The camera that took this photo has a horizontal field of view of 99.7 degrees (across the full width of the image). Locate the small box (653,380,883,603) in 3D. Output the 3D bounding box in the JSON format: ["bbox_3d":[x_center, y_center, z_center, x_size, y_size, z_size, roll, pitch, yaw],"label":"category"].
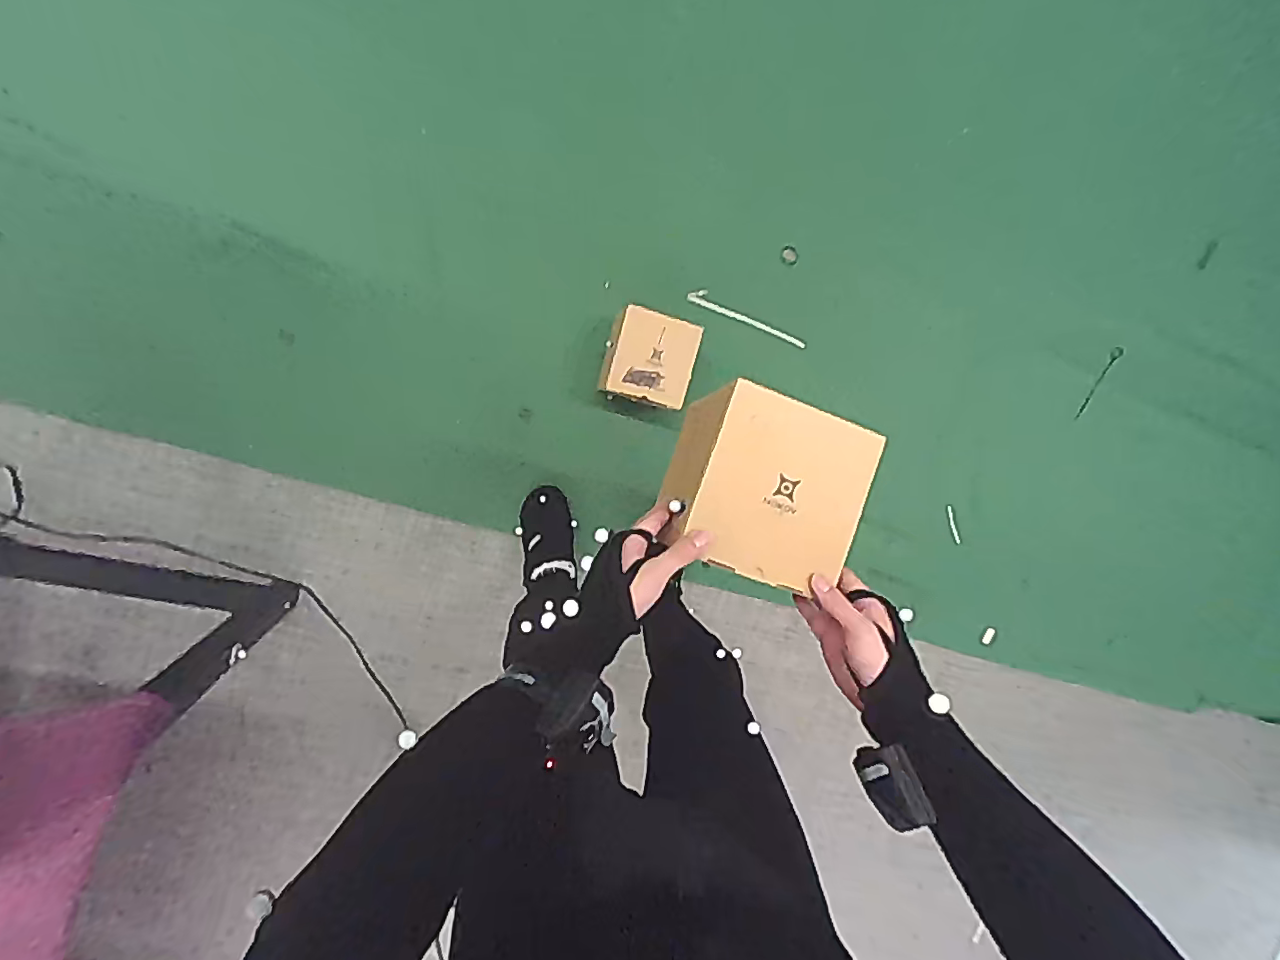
[{"bbox_3d":[0.125,0.012,0.598,0.168,0.176,0.179,20,88,-9],"label":"small box"}]

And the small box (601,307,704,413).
[{"bbox_3d":[0.018,-0.254,1.173,0.168,0.176,0.179,15,95,-13],"label":"small box"}]
